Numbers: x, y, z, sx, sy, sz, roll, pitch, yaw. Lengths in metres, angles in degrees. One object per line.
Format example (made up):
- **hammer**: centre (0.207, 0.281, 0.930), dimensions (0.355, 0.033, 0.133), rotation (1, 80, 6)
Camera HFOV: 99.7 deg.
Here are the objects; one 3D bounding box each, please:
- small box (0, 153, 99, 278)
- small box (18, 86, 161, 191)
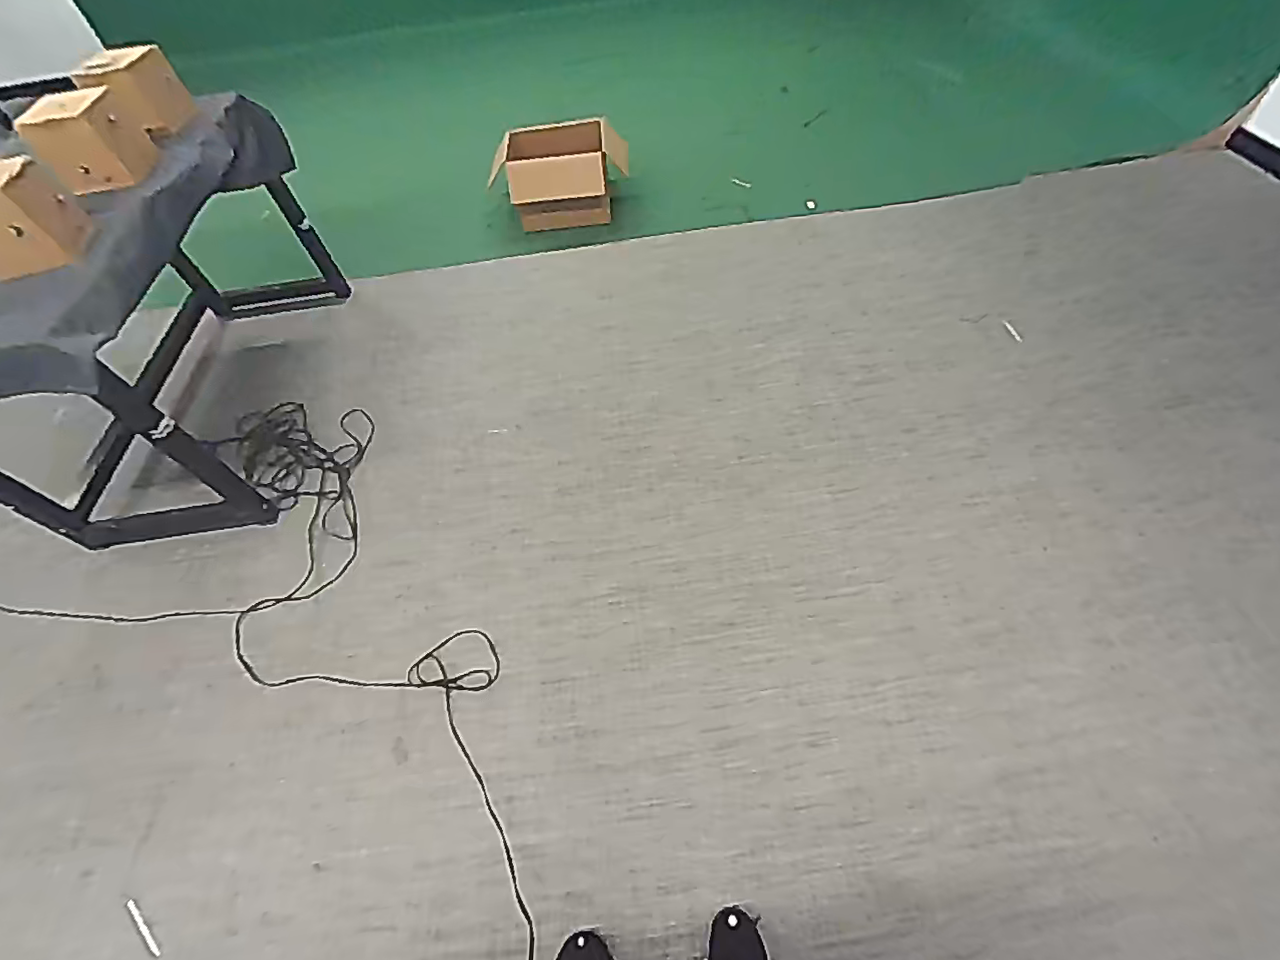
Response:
- **small box**: centre (-1.353, -0.571, 1.173), dimensions (0.179, 0.176, 0.168), rotation (-17, 54, -5)
- **small box**: centre (-1.395, -0.874, 1.390), dimensions (0.168, 0.176, 0.179), rotation (-10, 56, -1)
